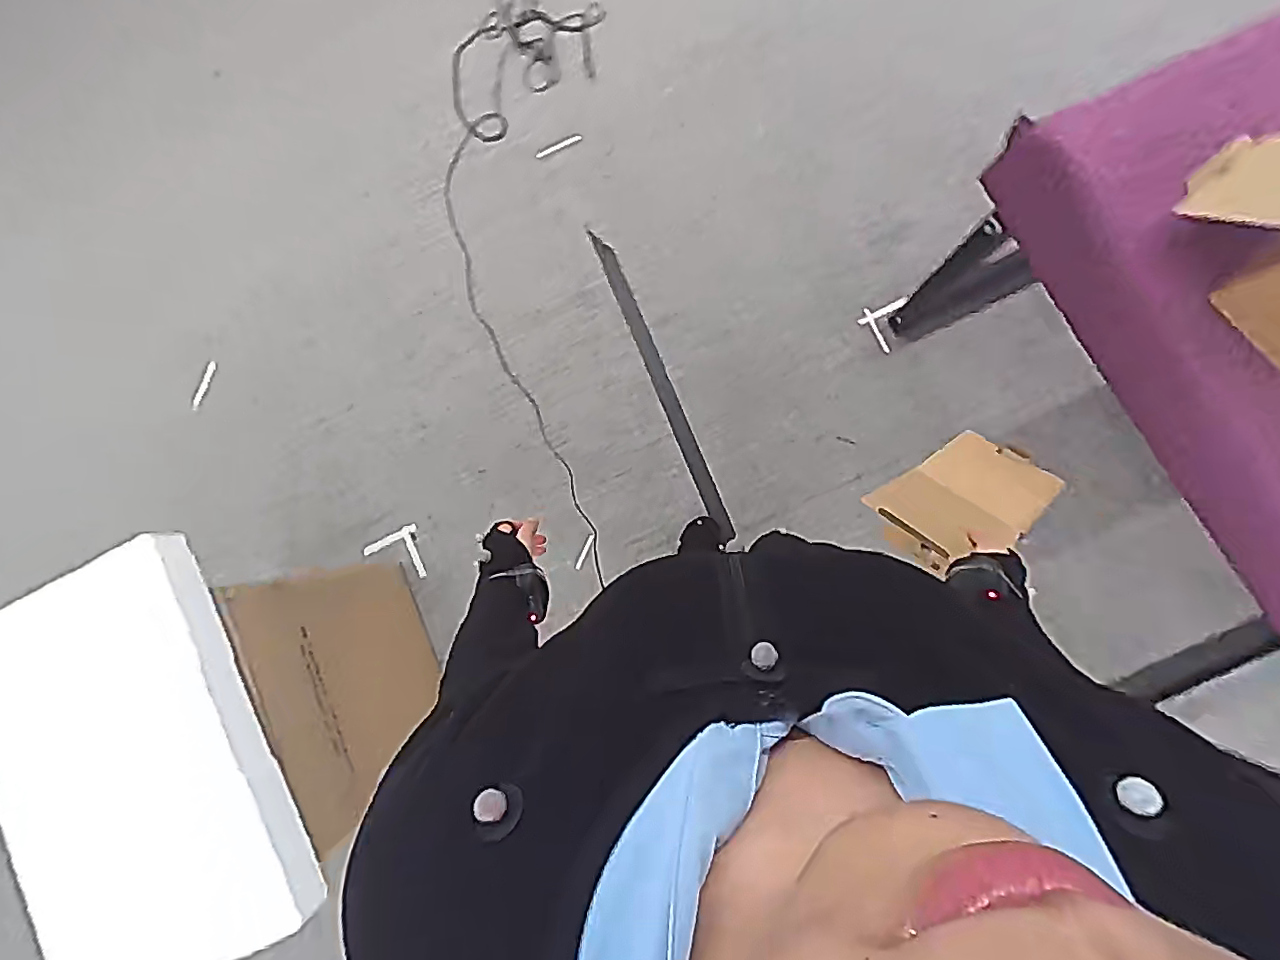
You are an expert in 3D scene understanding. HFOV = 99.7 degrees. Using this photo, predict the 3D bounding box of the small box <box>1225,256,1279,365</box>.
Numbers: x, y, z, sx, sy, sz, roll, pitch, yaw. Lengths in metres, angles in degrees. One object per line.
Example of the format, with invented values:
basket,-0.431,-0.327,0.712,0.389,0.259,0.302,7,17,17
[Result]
small box,0.879,-0.230,0.633,0.168,0.176,0.179,-37,84,1
